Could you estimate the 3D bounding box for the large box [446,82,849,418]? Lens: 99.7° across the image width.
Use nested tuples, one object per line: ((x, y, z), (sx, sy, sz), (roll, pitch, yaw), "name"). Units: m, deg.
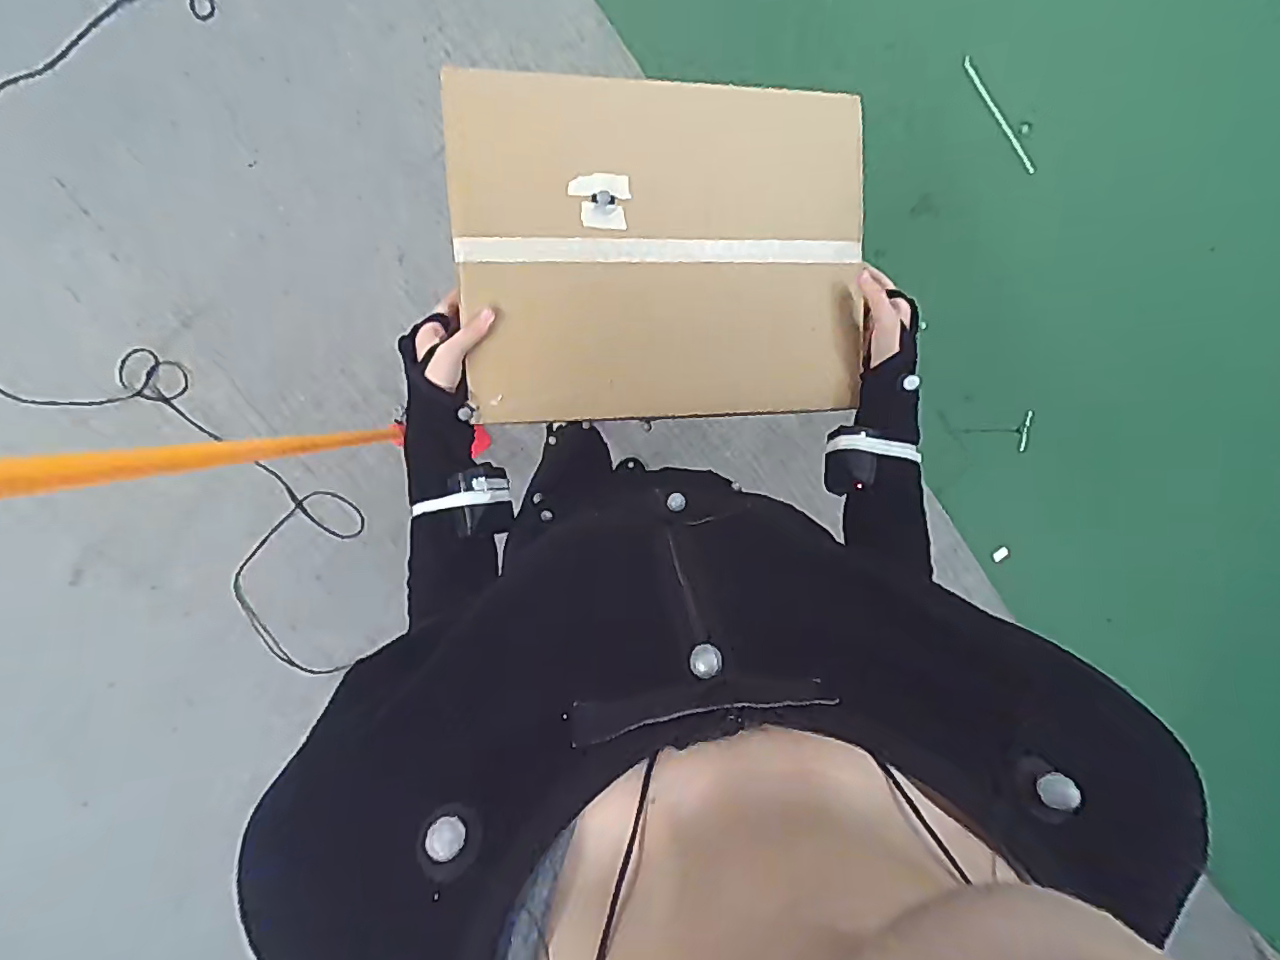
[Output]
((0.002, -0.244, 0.687), (0.408, 0.320, 0.320), (-4, 96, -9), "large box")
